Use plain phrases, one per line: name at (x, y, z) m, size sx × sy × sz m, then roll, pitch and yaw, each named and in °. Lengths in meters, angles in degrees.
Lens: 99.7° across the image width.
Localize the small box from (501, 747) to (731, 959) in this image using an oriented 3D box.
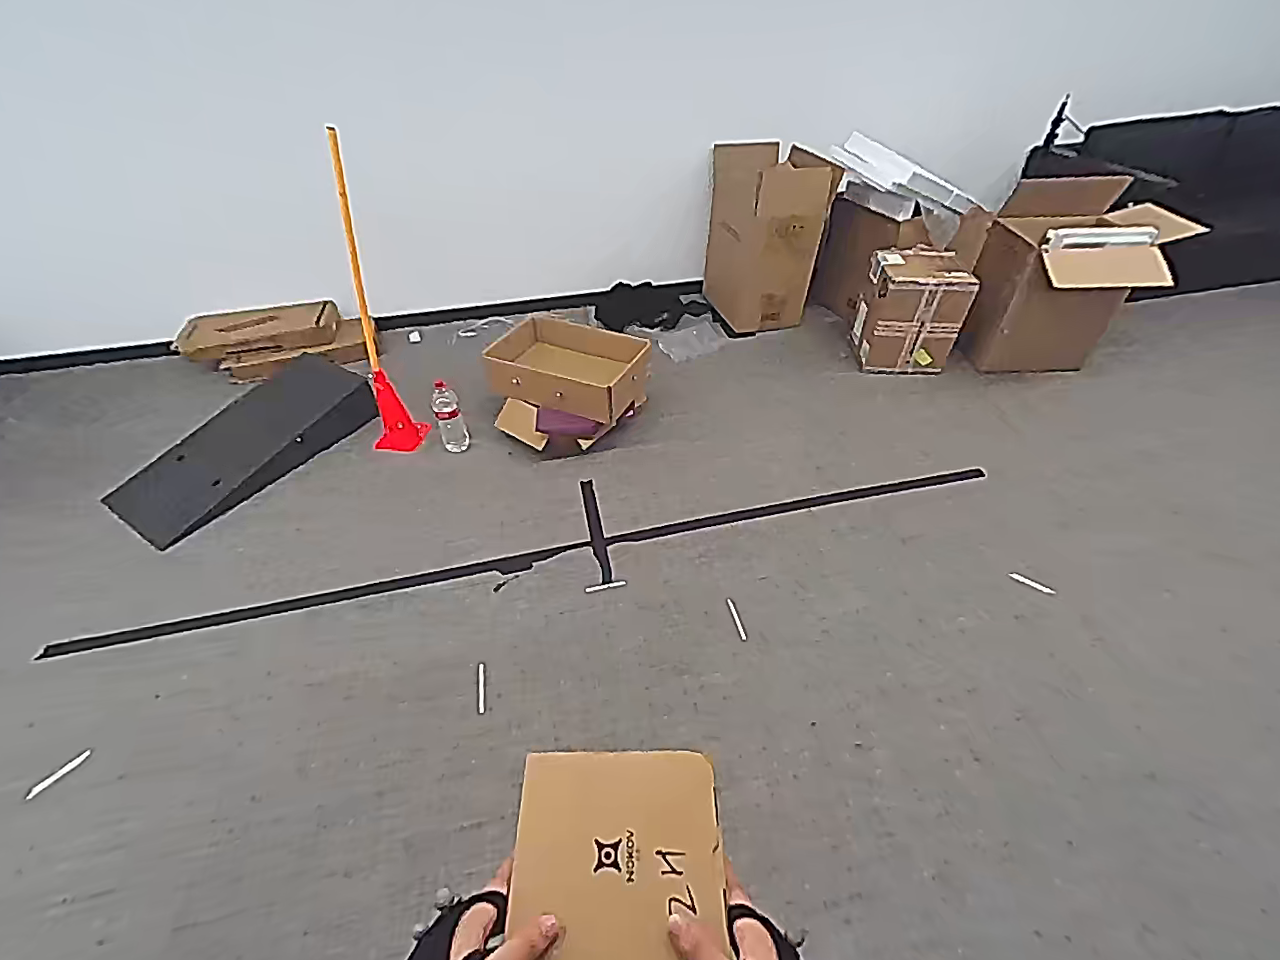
small box at (-0.017, 0.366, 0.509) m, size 0.179 × 0.176 × 0.168 m, roll 0°, pitch 47°, yaw -1°
